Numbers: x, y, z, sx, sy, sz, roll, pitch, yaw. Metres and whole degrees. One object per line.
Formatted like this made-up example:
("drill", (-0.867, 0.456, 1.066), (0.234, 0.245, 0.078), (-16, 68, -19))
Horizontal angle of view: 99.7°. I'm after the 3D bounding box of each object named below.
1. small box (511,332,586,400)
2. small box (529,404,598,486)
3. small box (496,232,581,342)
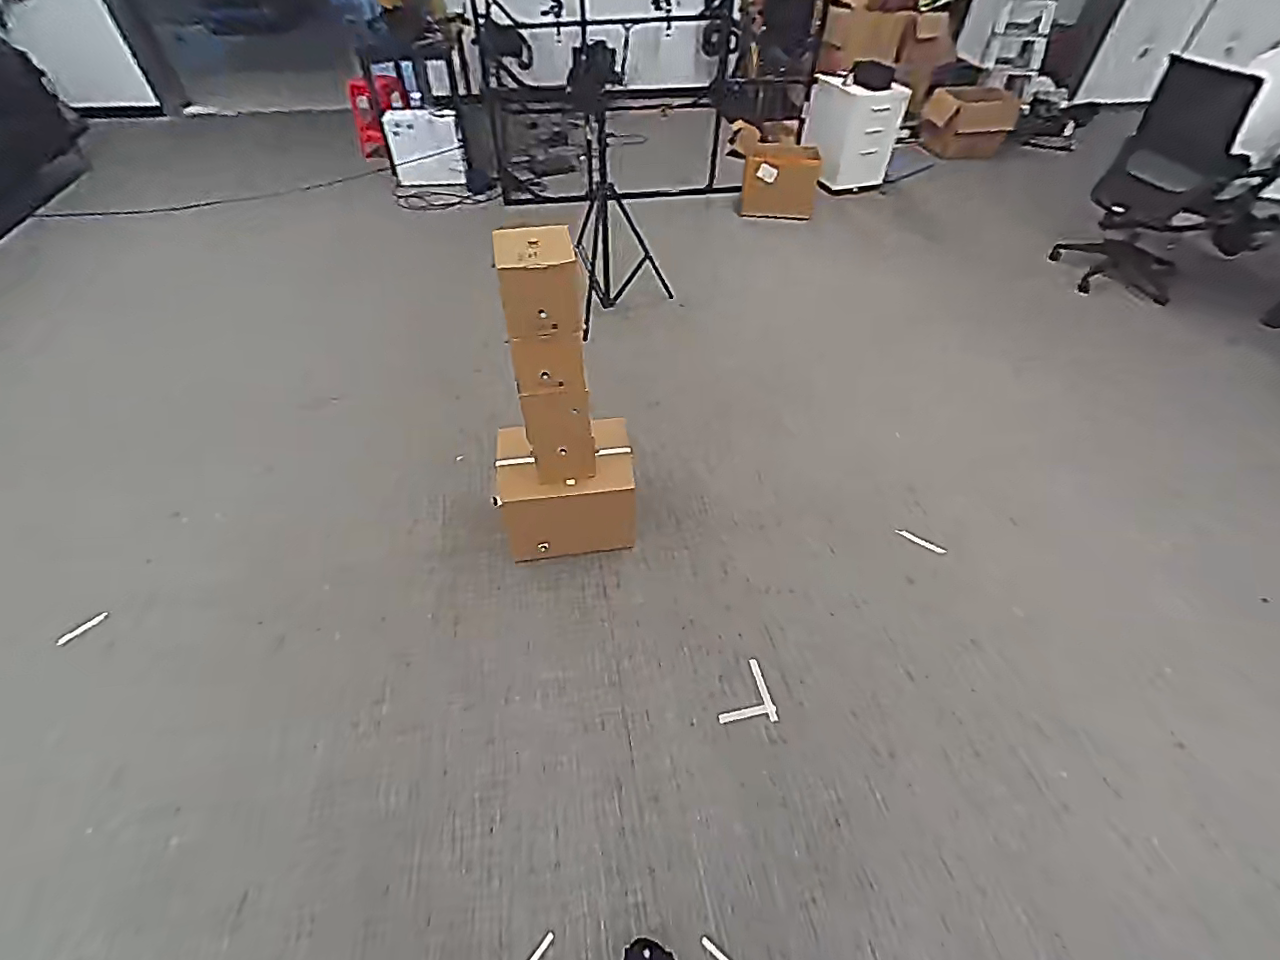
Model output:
("small box", (-0.228, -0.322, 1.341), (0.168, 0.176, 0.179), (-8, 50, -8))
("small box", (-0.222, -0.099, 1.579), (0.179, 0.176, 0.168), (-7, 50, -9))
("small box", (-0.227, -0.434, 1.219), (0.168, 0.176, 0.179), (-9, 50, -8))
